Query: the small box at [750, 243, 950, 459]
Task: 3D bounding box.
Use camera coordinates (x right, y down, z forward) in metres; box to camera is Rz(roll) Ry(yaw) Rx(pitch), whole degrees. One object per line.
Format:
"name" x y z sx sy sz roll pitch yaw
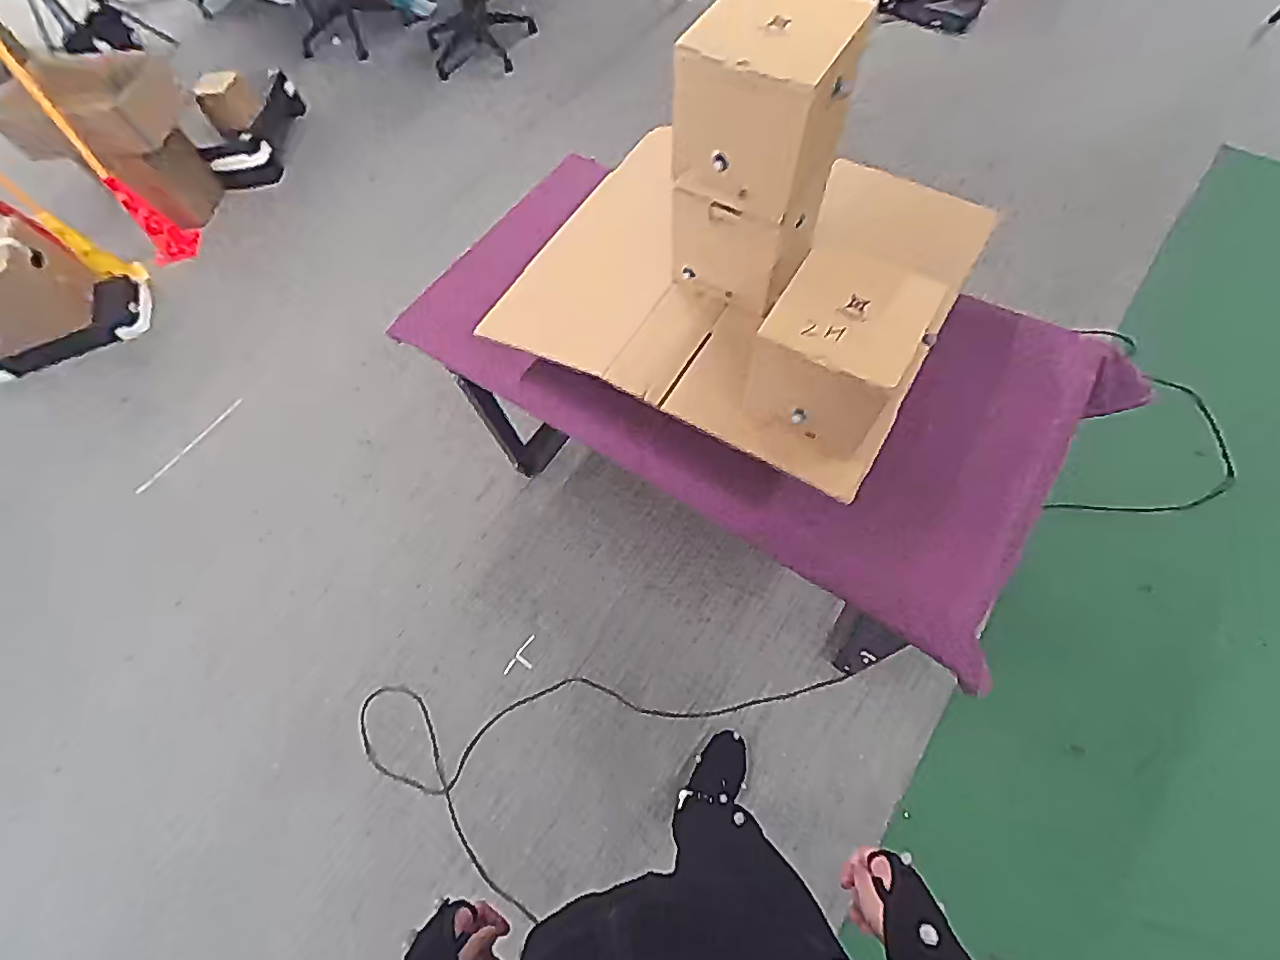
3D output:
"small box" 0.255 -0.160 0.699 0.168 0.176 0.179 29 71 17

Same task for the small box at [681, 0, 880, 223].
"small box" 0.158 -0.458 0.664 0.168 0.176 0.179 28 71 14

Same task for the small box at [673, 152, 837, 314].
"small box" 0.164 -0.384 0.808 0.168 0.176 0.179 29 70 15
